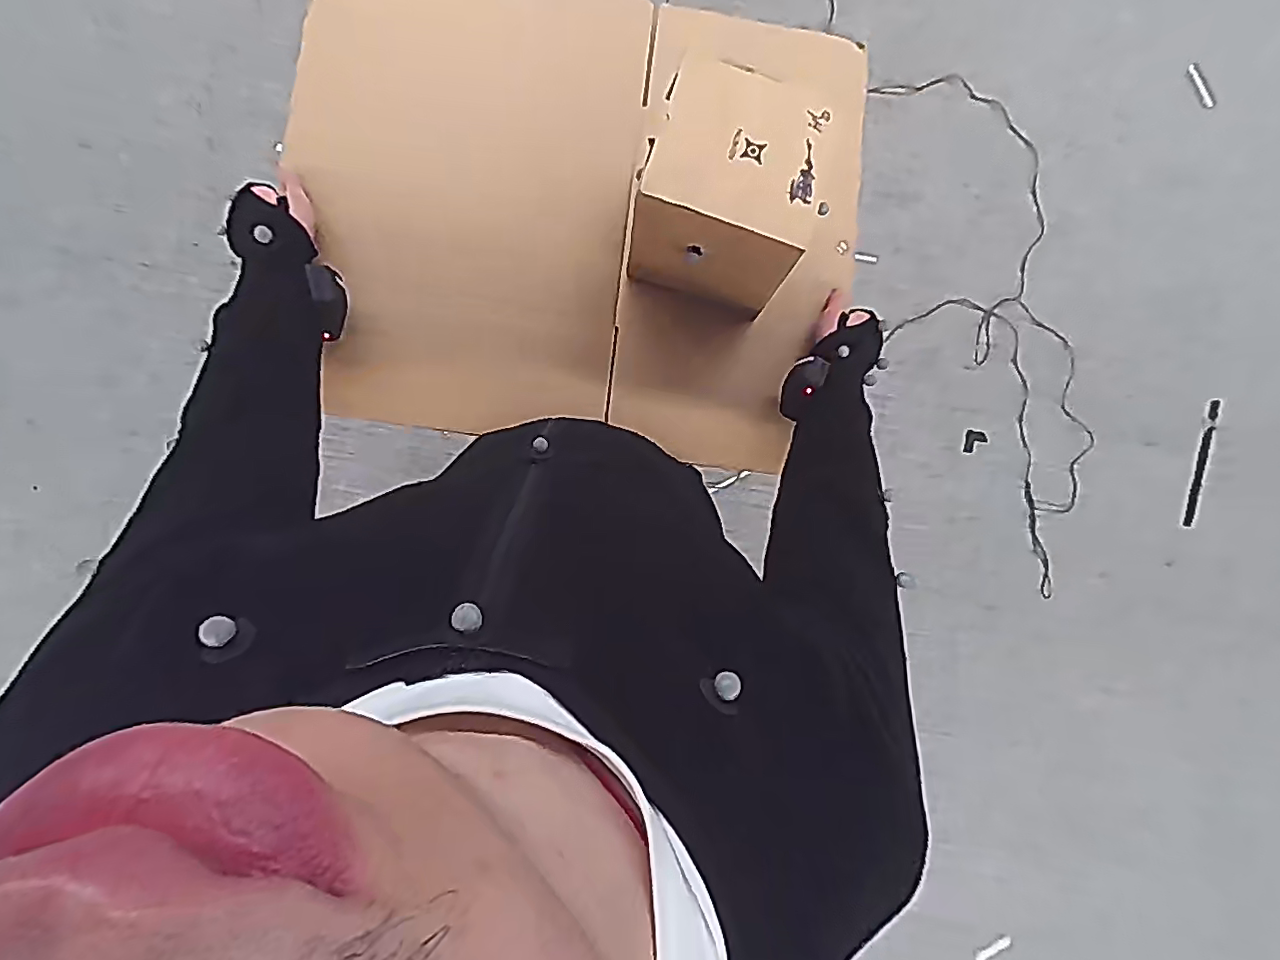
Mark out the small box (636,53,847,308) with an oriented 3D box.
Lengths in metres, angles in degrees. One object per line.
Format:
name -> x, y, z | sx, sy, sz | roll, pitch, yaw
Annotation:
small box -> 0.100, -0.321, 0.616 | 0.179, 0.176, 0.168 | 18, 83, -2
